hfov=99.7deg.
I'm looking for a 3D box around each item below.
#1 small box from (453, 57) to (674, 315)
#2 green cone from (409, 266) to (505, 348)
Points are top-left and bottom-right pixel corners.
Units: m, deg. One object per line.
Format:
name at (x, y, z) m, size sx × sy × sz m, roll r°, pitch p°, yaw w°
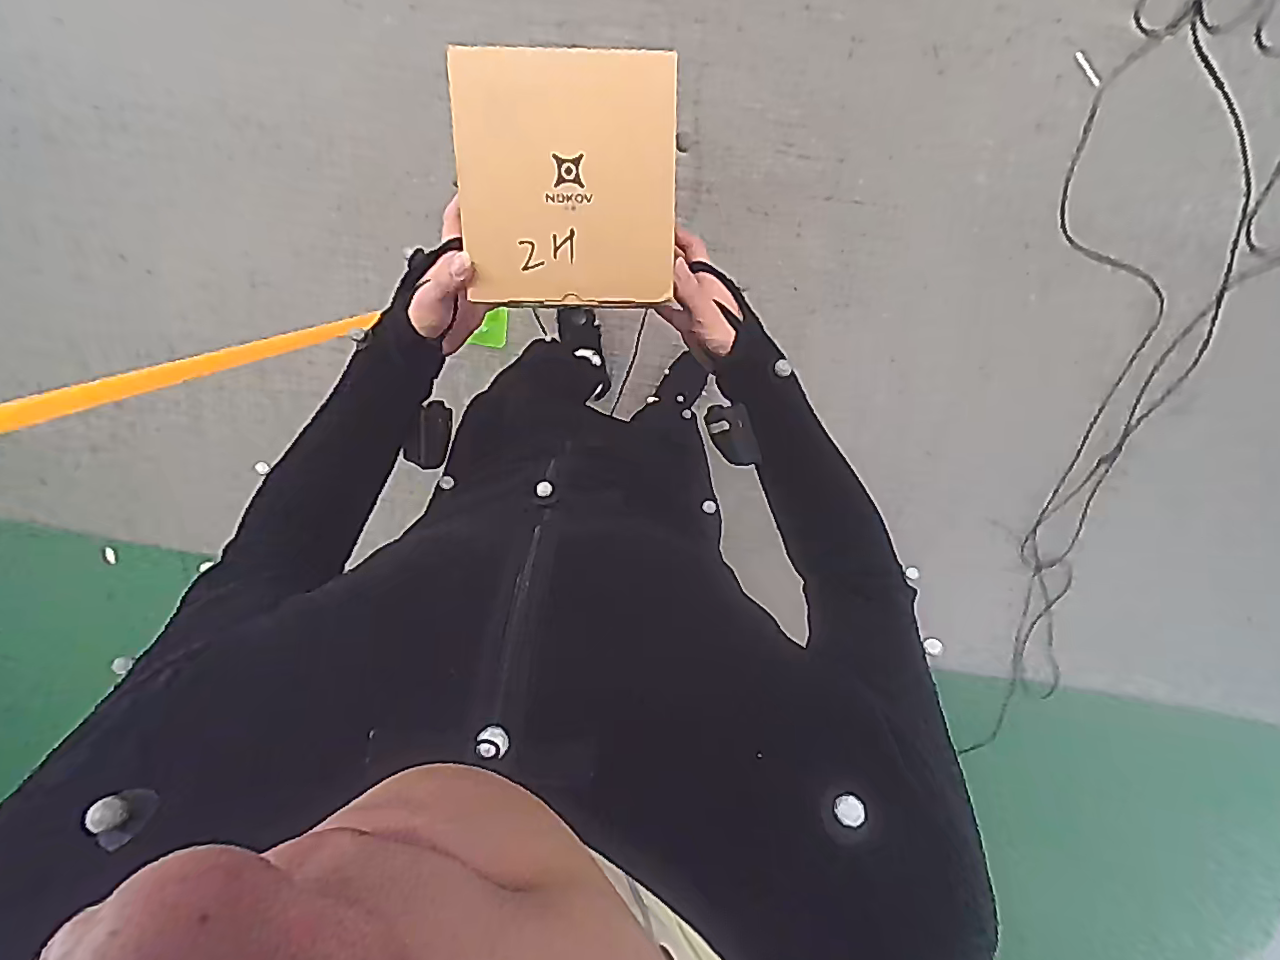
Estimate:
small box at (-0.062, -0.246, 0.497) m, size 0.168 × 0.176 × 0.179 m, roll 0°, pitch 107°, yaw -3°
green cone at (-0.493, -0.432, 1.373) m, size 0.202 × 0.368 × 0.200 m, roll 10°, pitch 109°, yaw 0°
